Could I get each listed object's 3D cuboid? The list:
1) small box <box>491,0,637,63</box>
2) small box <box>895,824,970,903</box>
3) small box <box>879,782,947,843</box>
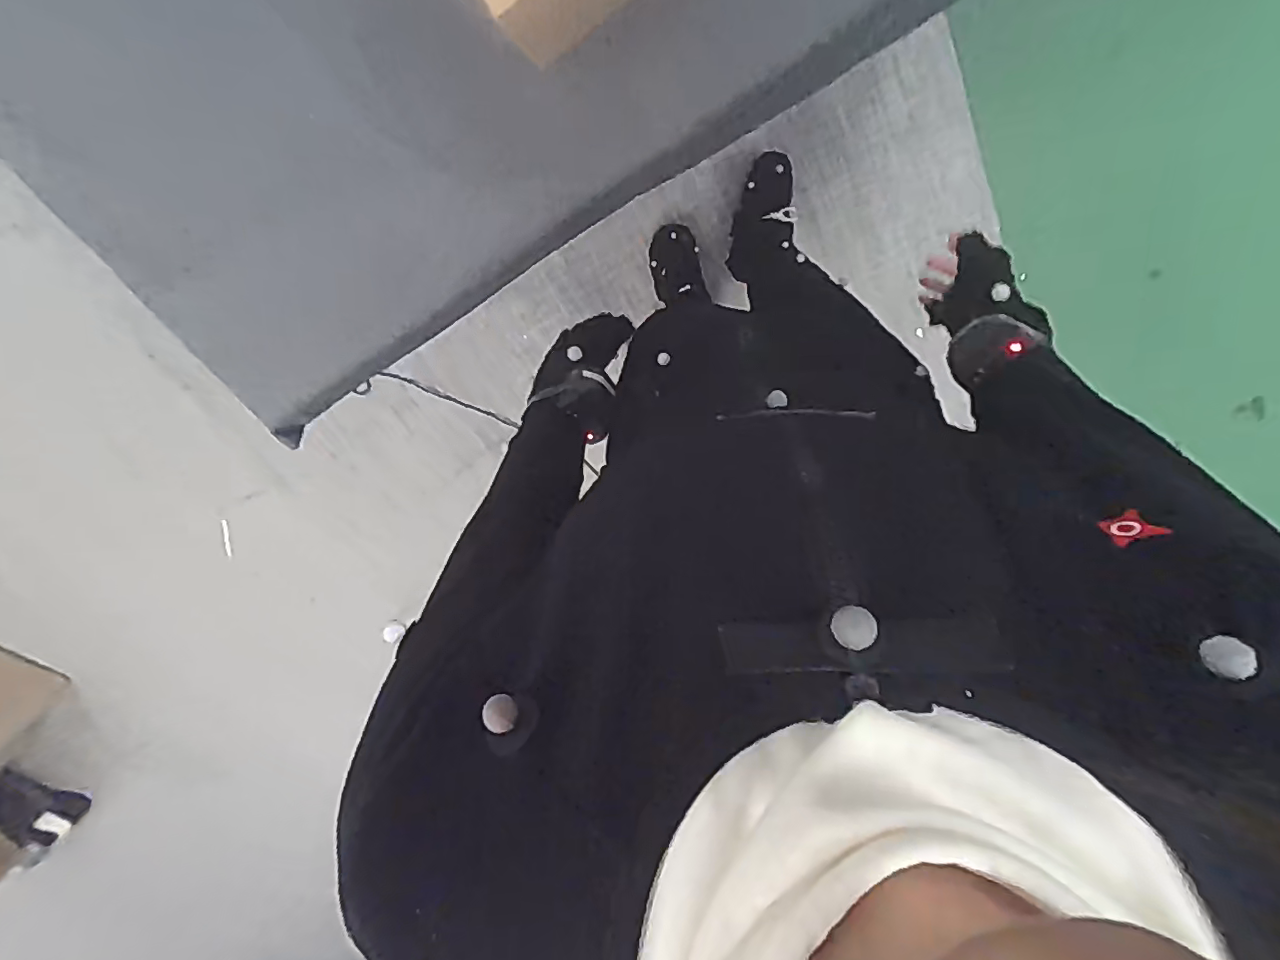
[{"bbox_3d":[-0.061,-0.454,0.391,0.179,0.176,0.168,-28,112,16],"label":"small box"},{"bbox_3d":[1.079,1.427,2.016,0.179,0.176,0.168,-31,113,17],"label":"small box"},{"bbox_3d":[1.083,1.353,2.162,0.179,0.176,0.168,-36,112,19],"label":"small box"}]
